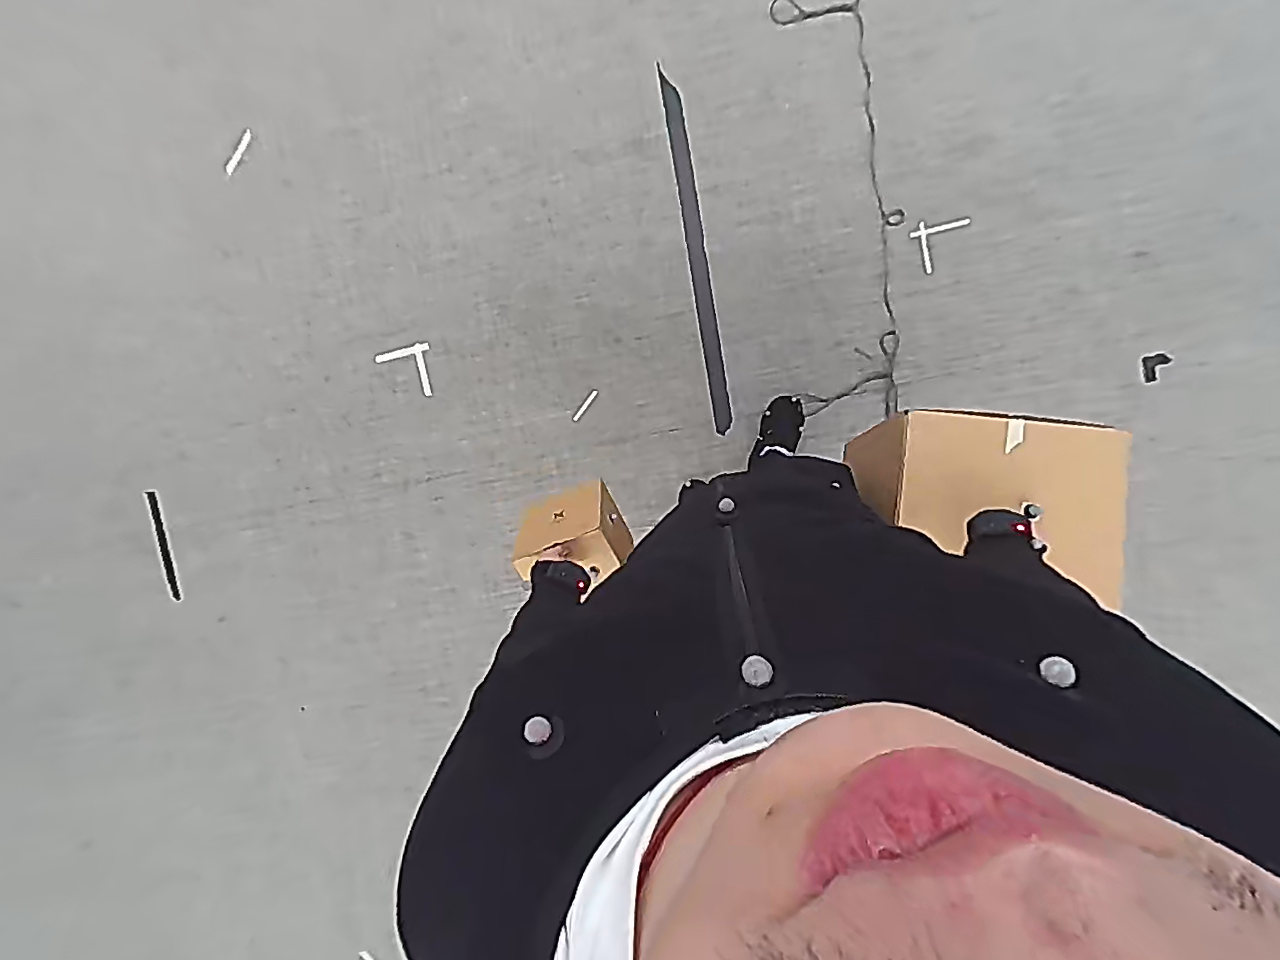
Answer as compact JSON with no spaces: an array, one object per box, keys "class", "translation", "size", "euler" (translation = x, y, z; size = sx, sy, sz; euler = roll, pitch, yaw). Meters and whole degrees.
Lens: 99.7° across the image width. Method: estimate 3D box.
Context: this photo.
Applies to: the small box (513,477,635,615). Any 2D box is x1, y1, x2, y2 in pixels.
[{"class":"small box","translation":[-0.114,0.128,1.005],"size":[0.168,0.179,0.176],"euler":[-20,119,8]}]
